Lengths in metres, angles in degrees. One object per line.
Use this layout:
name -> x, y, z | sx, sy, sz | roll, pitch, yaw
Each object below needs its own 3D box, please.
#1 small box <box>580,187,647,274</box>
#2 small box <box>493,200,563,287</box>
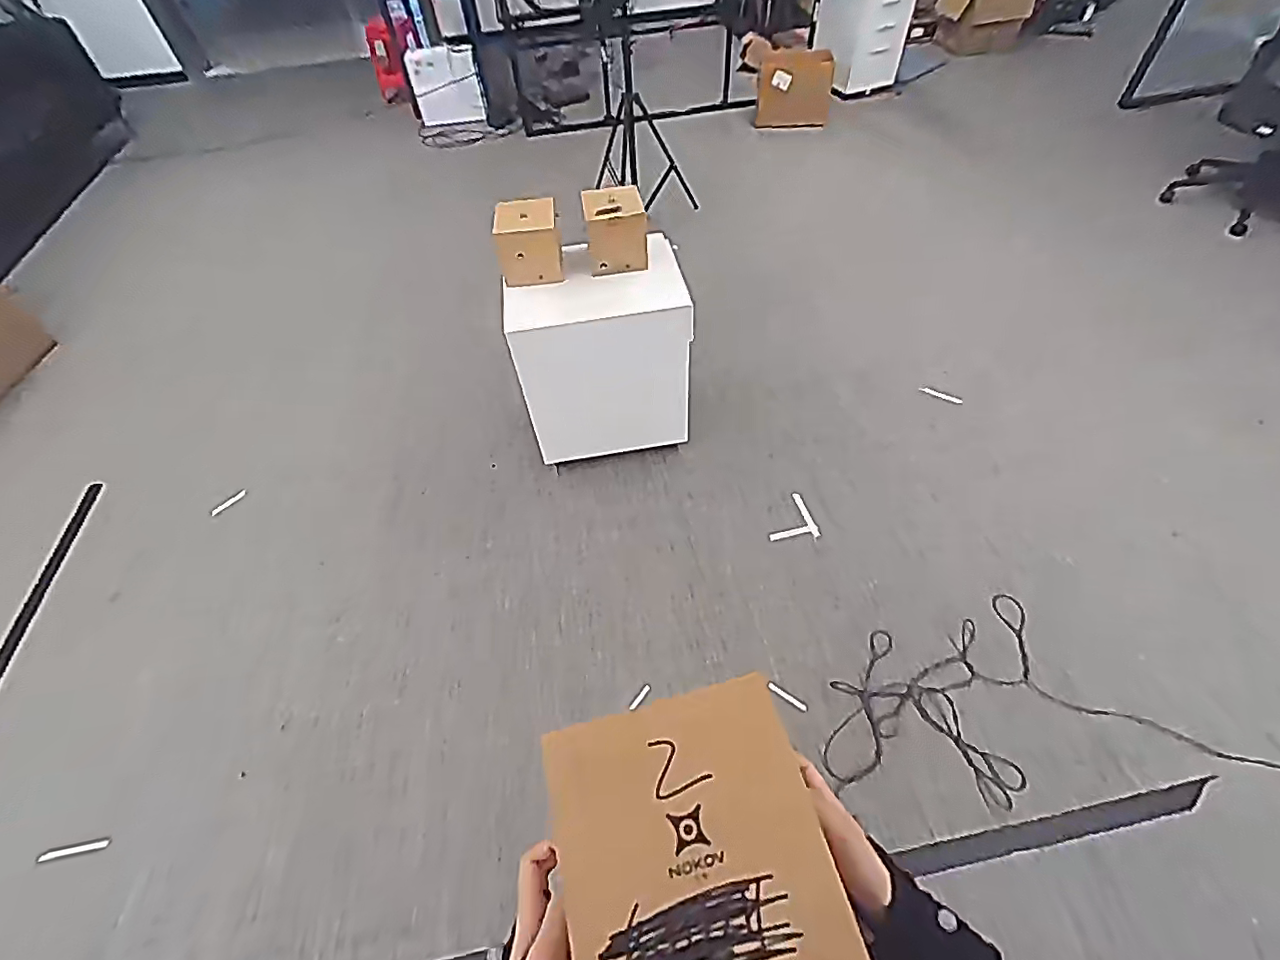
small box -> -0.074, -0.715, 1.567 | 0.168, 0.176, 0.179 | -9, 52, -2
small box -> -0.316, -0.671, 1.552 | 0.168, 0.176, 0.179 | -7, 52, -2
